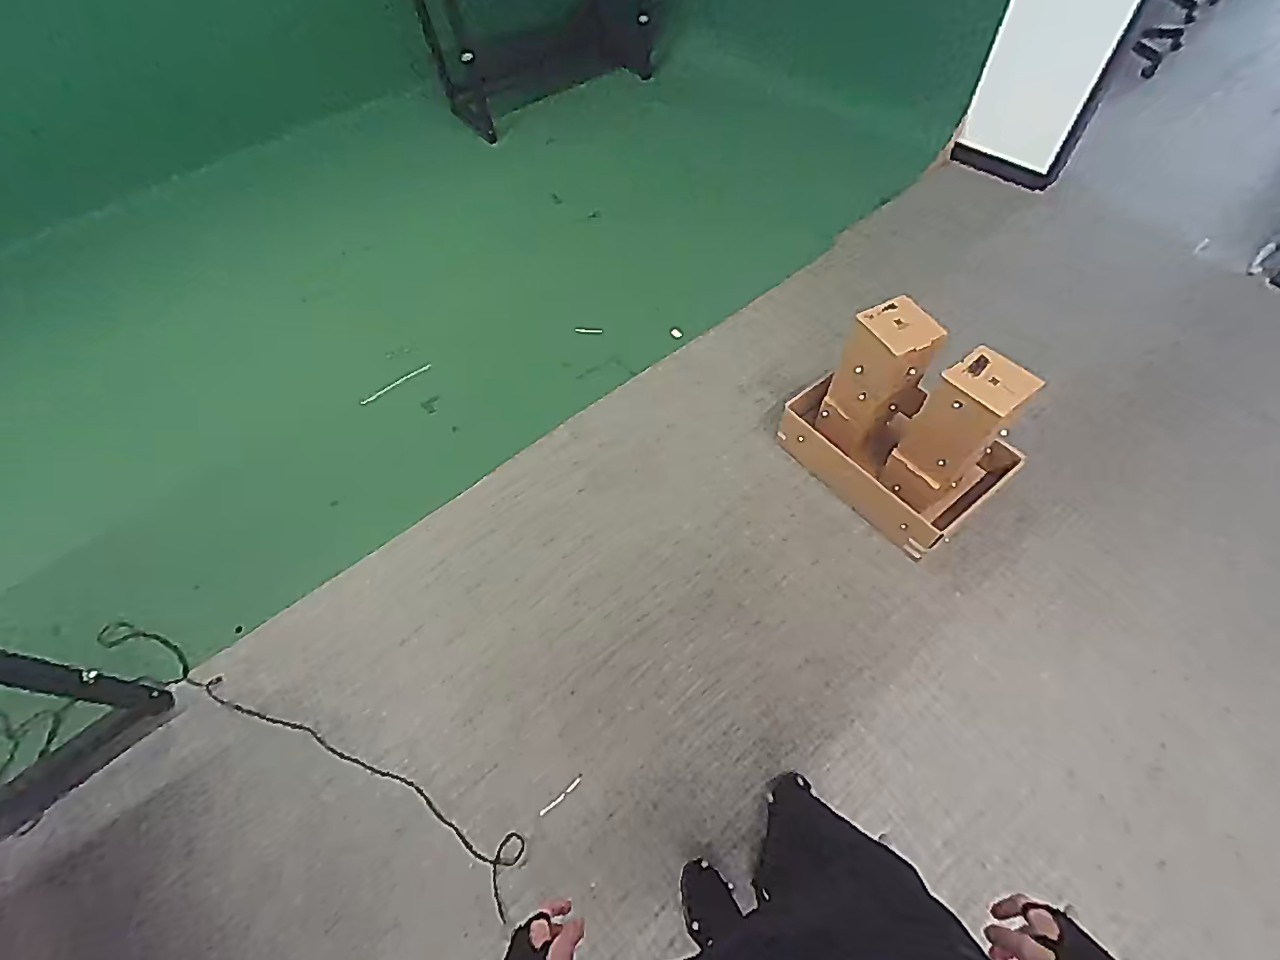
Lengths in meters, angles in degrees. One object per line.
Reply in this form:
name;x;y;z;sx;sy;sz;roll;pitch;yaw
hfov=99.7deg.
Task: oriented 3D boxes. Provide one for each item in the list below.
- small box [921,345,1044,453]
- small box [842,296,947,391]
small box;0.863;-0.203;1.383;0.168;0.176;0.179;-34;61;-14
small box;0.696;-0.369;1.499;0.168;0.176;0.179;-24;62;-10
